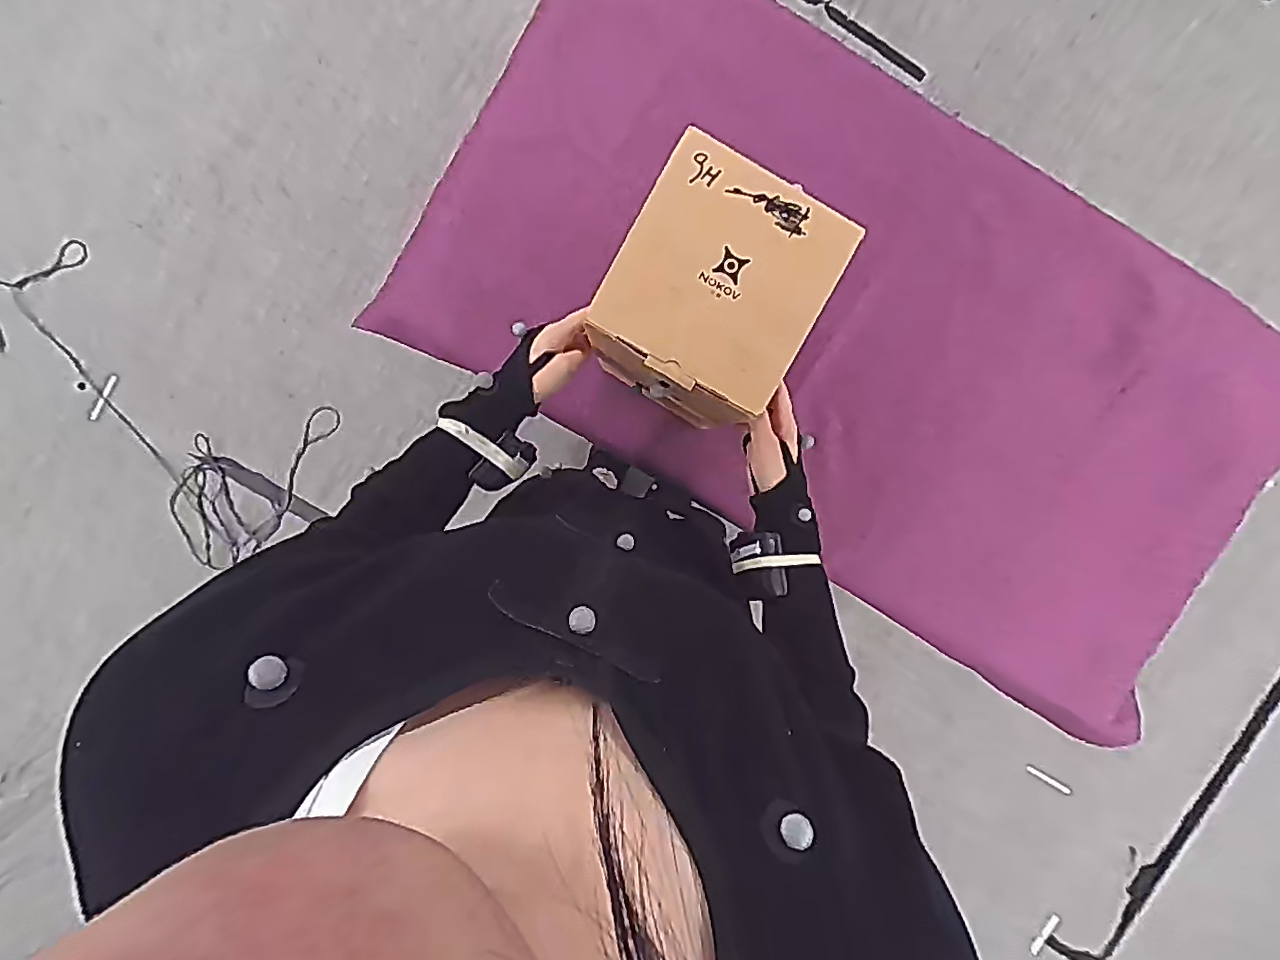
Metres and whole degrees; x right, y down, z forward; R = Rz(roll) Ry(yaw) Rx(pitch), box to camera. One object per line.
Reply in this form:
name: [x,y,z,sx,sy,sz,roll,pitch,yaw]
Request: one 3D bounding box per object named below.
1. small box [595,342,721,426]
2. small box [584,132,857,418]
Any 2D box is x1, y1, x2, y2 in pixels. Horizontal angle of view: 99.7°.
small box: [0.062,-0.179,0.683,0.168,0.176,0.179,32,92,-4]
small box: [0.065,-0.170,0.519,0.168,0.176,0.179,30,93,-3]
